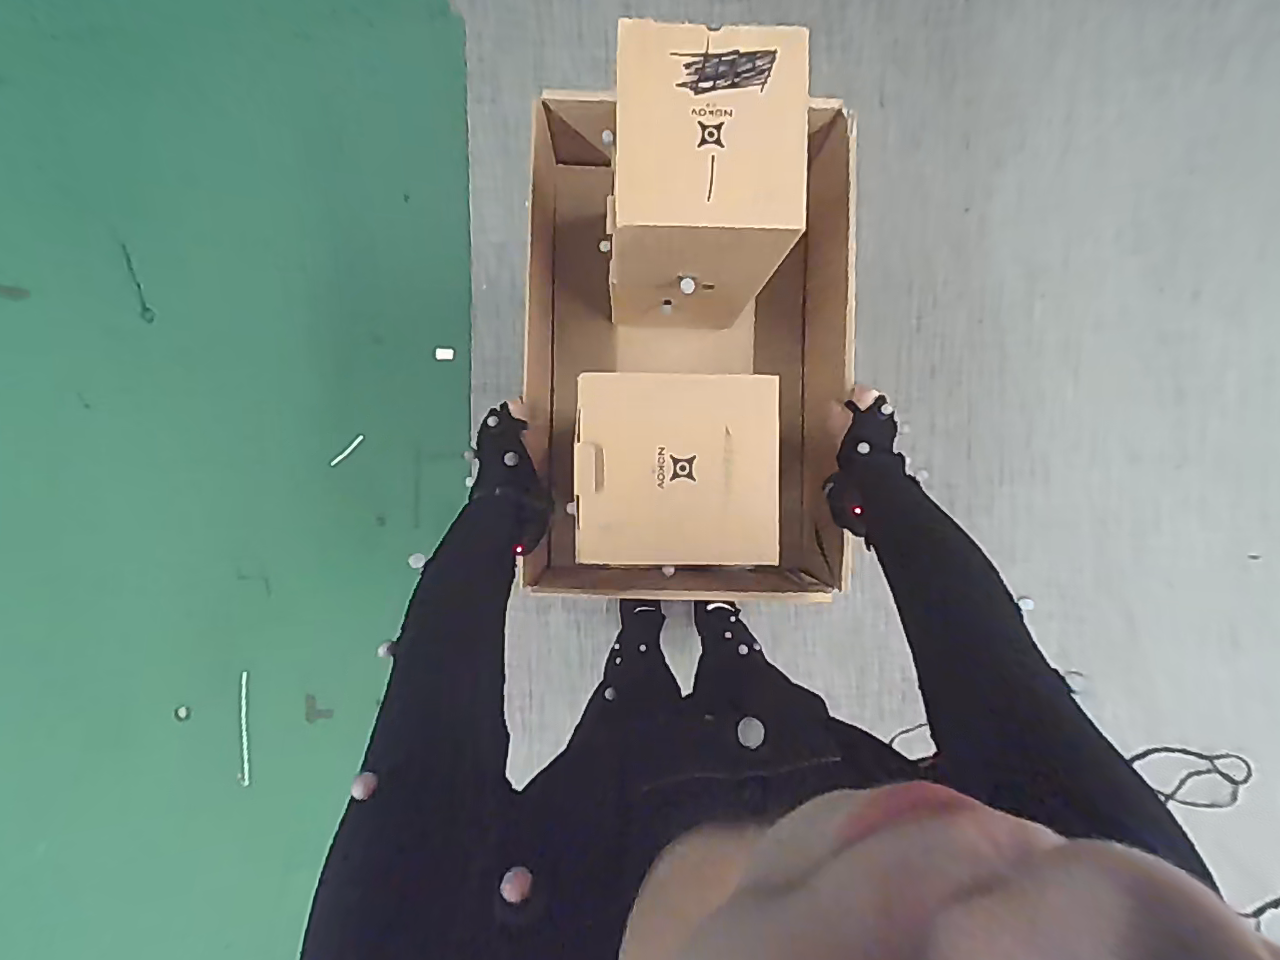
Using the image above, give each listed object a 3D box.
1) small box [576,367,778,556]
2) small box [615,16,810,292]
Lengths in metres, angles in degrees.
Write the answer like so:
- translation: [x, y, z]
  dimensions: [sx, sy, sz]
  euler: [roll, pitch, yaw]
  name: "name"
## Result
- translation: [0.030, -0.014, 0.546]
  dimensions: [0.179, 0.176, 0.168]
  euler: [0, 90, -3]
  name: "small box"
- translation: [0.060, -0.305, 0.541]
  dimensions: [0.168, 0.176, 0.179]
  euler: [1, 92, -2]
  name: "small box"
